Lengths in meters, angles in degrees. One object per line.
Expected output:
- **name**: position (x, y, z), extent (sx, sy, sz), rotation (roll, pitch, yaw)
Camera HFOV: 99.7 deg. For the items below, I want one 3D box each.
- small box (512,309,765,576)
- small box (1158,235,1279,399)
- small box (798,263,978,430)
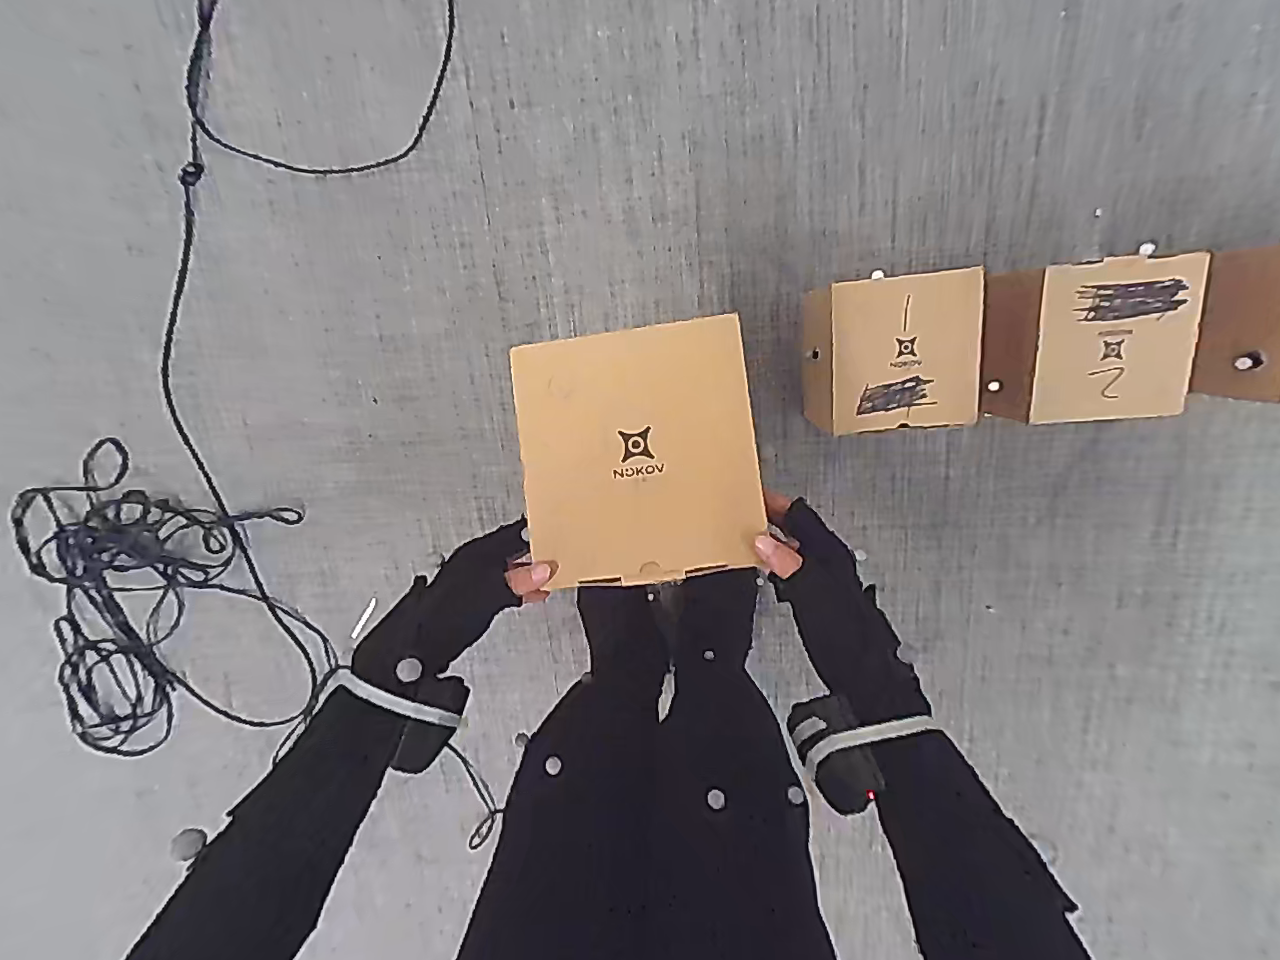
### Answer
- **small box**: position (0.001, -0.021, 0.460), extent (0.168, 0.176, 0.179), rotation (-8, 86, 4)
- **small box**: position (0.780, -0.198, 0.644), extent (0.168, 0.176, 0.179), rotation (-3, 104, 6)
- **small box**: position (0.302, -0.167, 0.693), extent (0.168, 0.176, 0.179), rotation (-4, 103, 7)
